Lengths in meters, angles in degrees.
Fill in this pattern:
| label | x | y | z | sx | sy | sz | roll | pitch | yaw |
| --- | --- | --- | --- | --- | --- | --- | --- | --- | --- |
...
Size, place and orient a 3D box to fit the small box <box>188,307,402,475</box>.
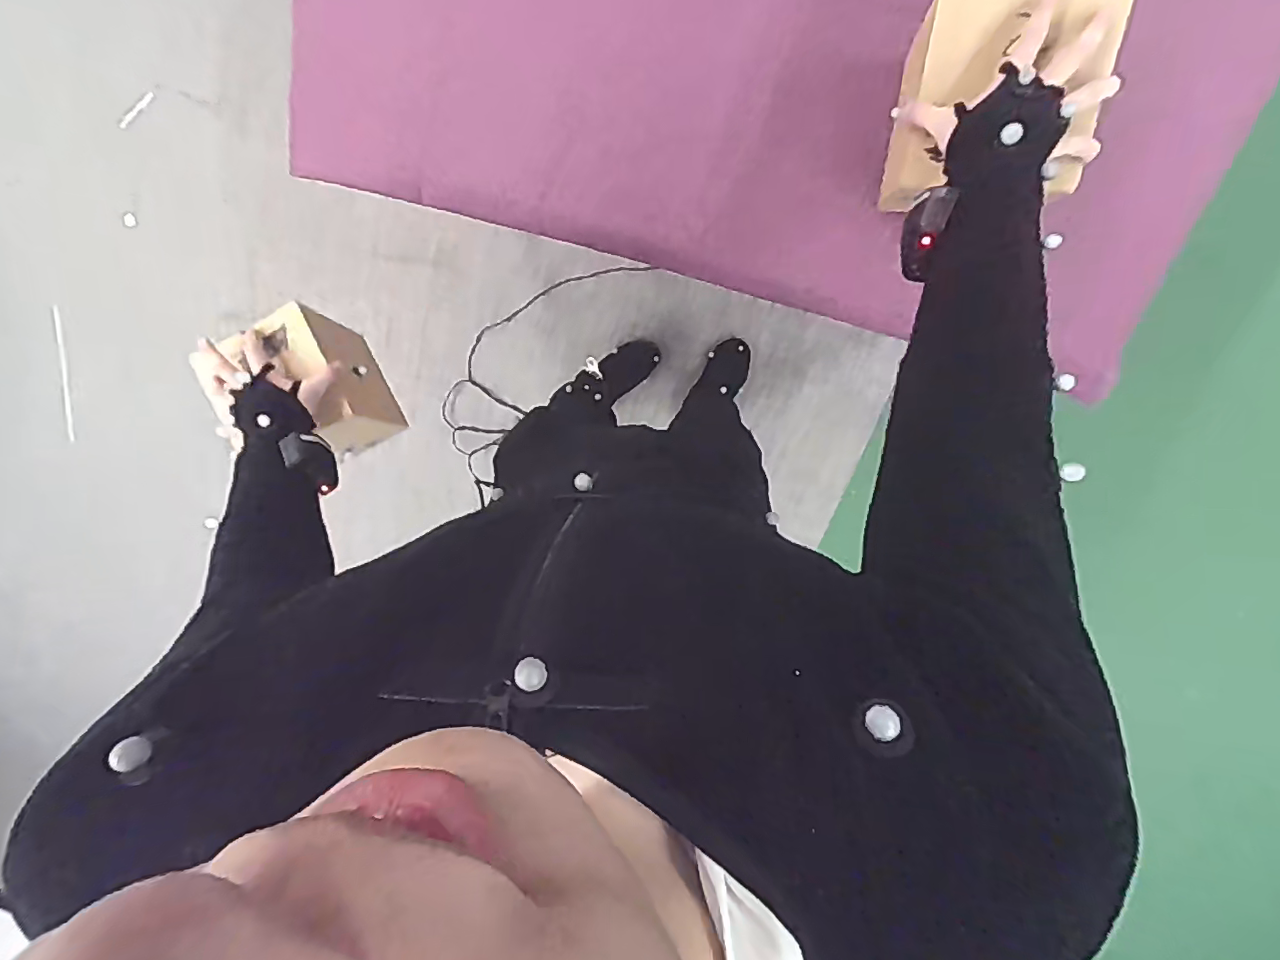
| label | x | y | z | sx | sy | sz | roll | pitch | yaw |
| --- | --- | --- | --- | --- | --- | --- | --- | --- | --- |
| small box | -0.492 | -0.118 | 0.799 | 0.168 | 0.176 | 0.179 | -29 | 89 | 1 |
